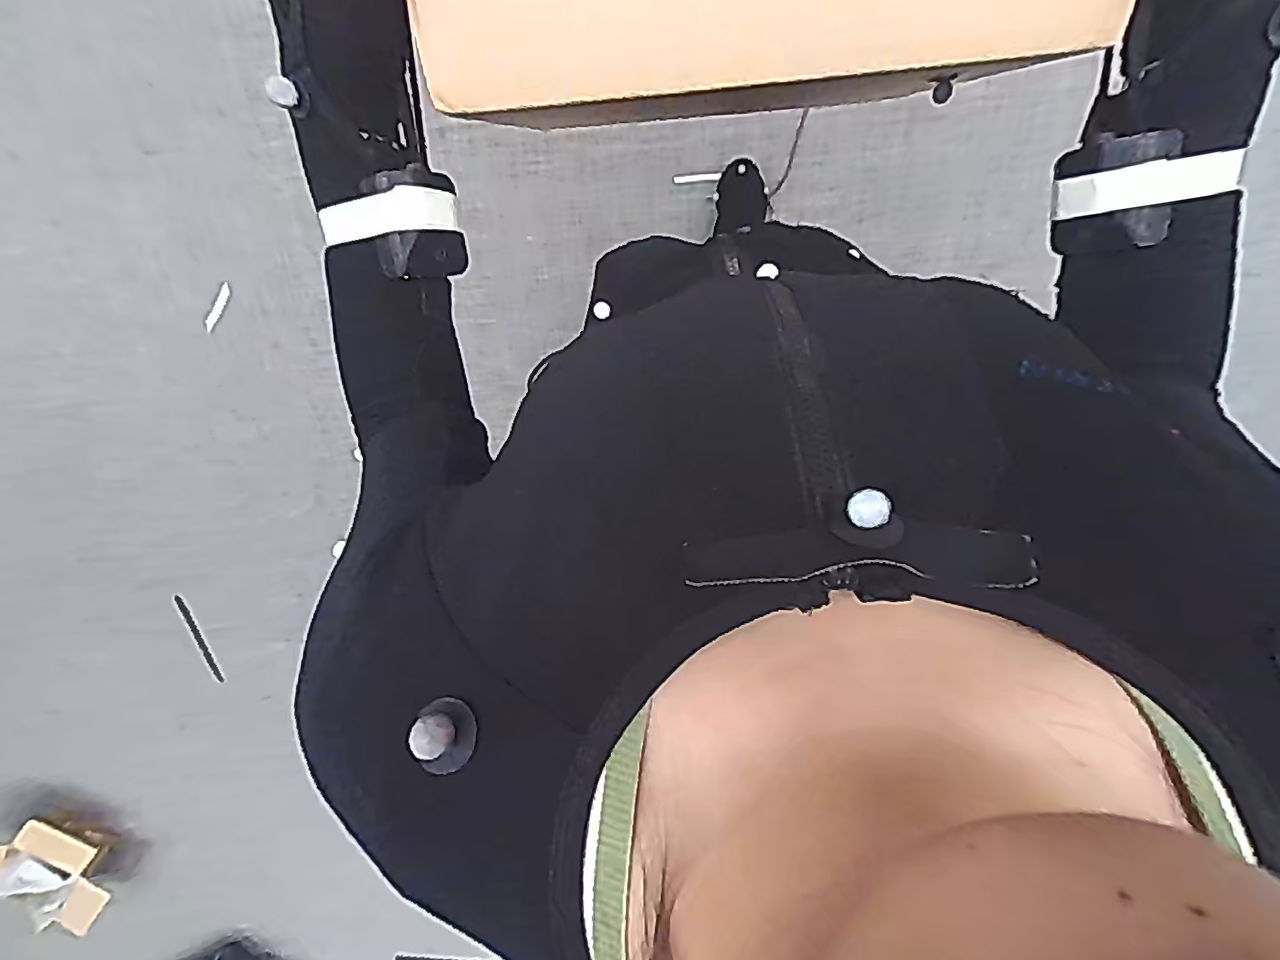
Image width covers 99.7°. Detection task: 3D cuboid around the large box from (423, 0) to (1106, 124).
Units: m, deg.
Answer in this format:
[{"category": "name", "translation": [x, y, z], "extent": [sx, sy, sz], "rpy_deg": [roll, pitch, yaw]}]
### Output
[{"category": "large box", "translation": [0.065, -0.455, 0.379], "extent": [0.408, 0.320, 0.320], "rpy_deg": [-3, 121, 3]}]
